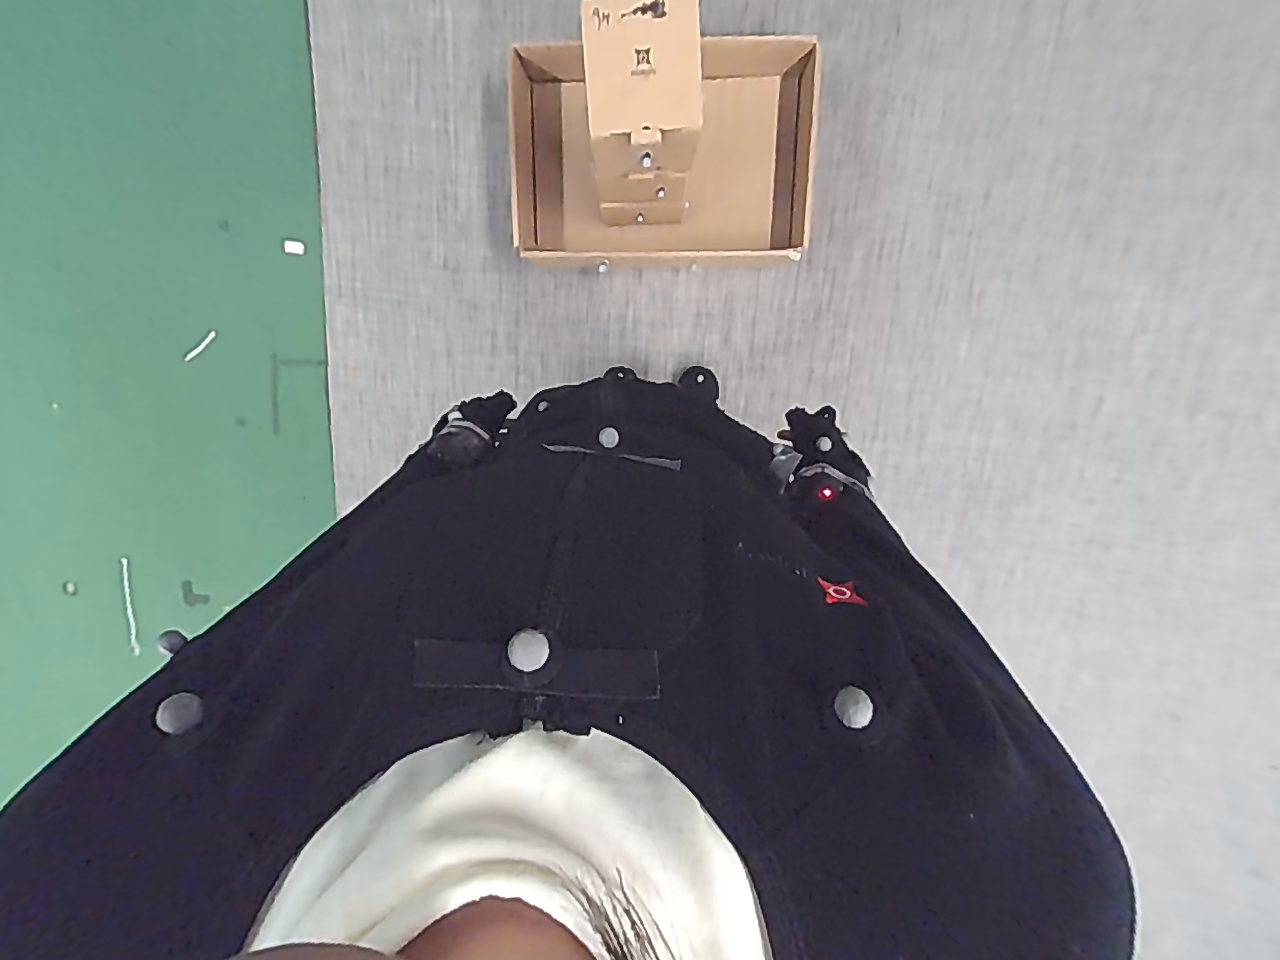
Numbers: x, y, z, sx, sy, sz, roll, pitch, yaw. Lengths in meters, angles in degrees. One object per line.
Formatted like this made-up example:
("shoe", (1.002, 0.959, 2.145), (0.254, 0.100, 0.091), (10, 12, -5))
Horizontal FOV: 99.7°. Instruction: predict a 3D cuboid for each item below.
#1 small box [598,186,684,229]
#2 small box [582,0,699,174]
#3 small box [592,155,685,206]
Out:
("small box", (0.005, -0.647, 1.160), (0.179, 0.176, 0.168), (0, 102, 4))
("small box", (0.004, -0.593, 0.840), (0.168, 0.176, 0.179), (-1, 103, 1))
("small box", (0.002, -0.622, 1.001), (0.168, 0.176, 0.179), (1, 101, 1))
